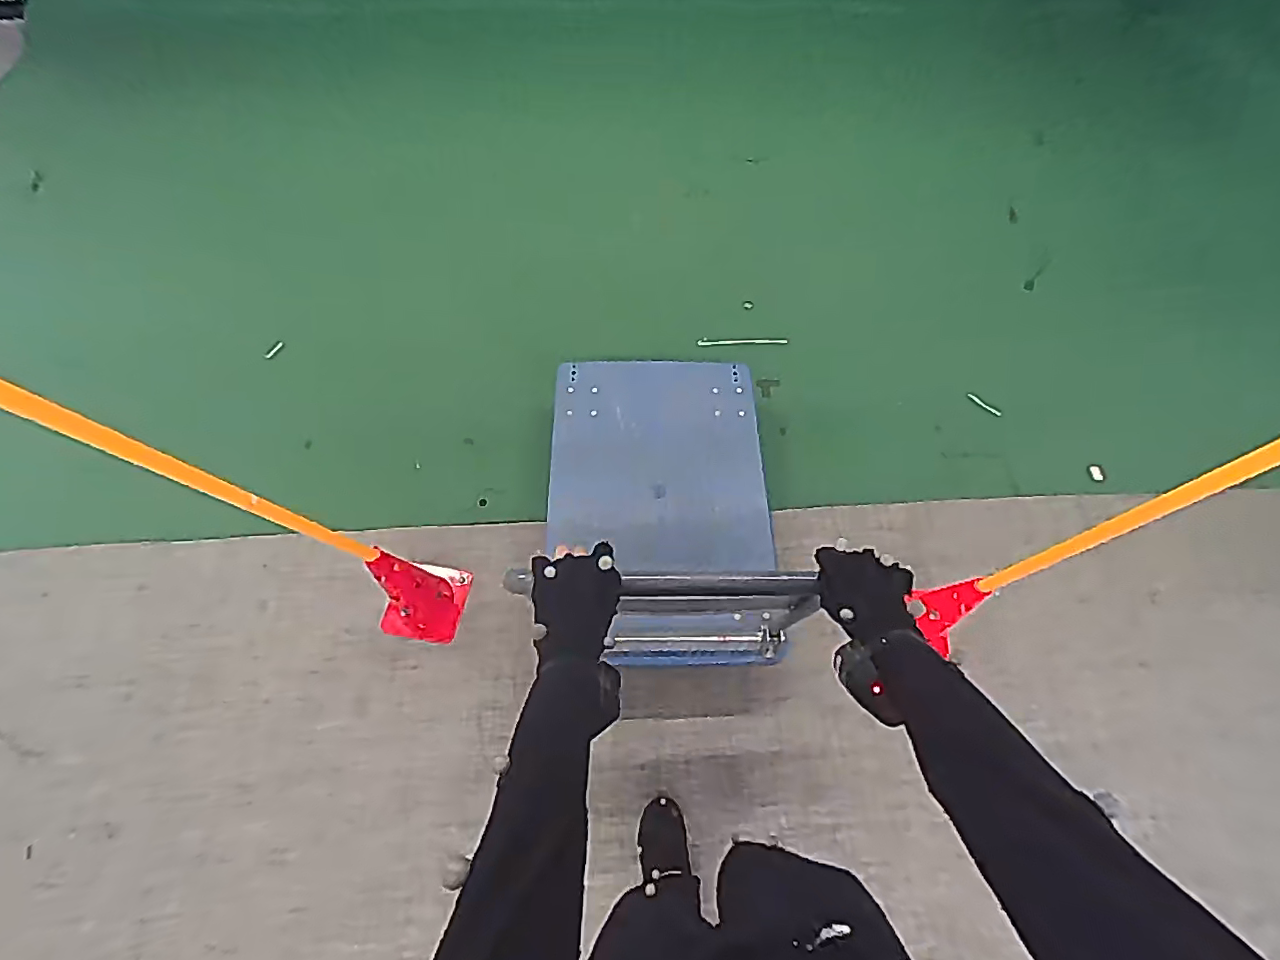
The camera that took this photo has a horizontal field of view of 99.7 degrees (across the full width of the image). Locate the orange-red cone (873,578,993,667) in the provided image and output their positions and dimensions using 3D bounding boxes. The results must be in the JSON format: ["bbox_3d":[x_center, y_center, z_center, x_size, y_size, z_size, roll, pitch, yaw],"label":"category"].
[{"bbox_3d":[0.725,0.307,1.289,0.198,0.360,0.199,7,63,4],"label":"orange-red cone"}]
